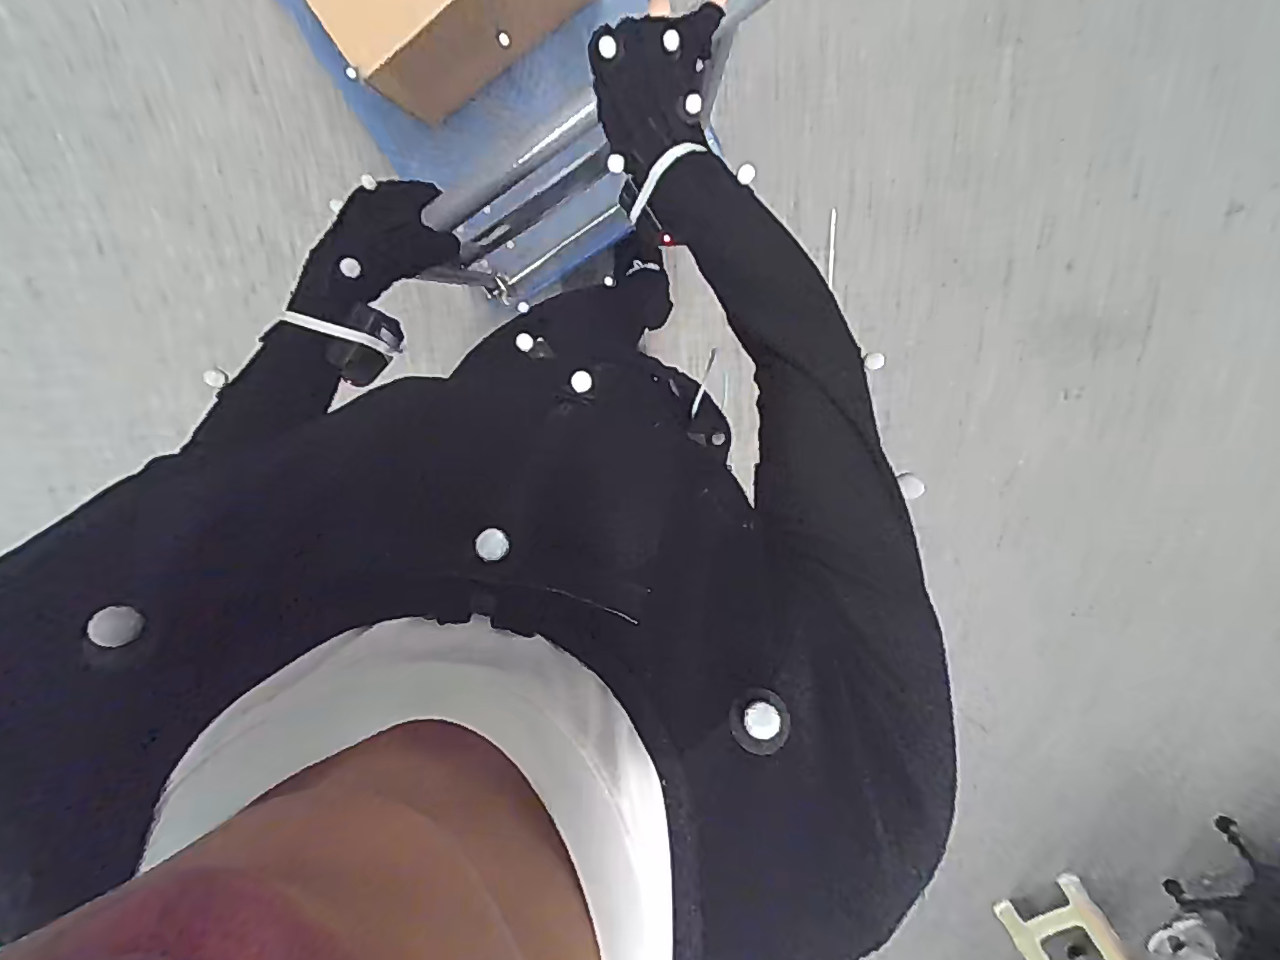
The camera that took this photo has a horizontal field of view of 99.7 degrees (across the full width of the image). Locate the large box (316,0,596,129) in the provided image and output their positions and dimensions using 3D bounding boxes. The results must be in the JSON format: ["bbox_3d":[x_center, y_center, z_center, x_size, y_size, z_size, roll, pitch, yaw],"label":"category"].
[{"bbox_3d":[-0.302,-0.846,0.840,0.408,0.320,0.320,-31,109,12],"label":"large box"}]
